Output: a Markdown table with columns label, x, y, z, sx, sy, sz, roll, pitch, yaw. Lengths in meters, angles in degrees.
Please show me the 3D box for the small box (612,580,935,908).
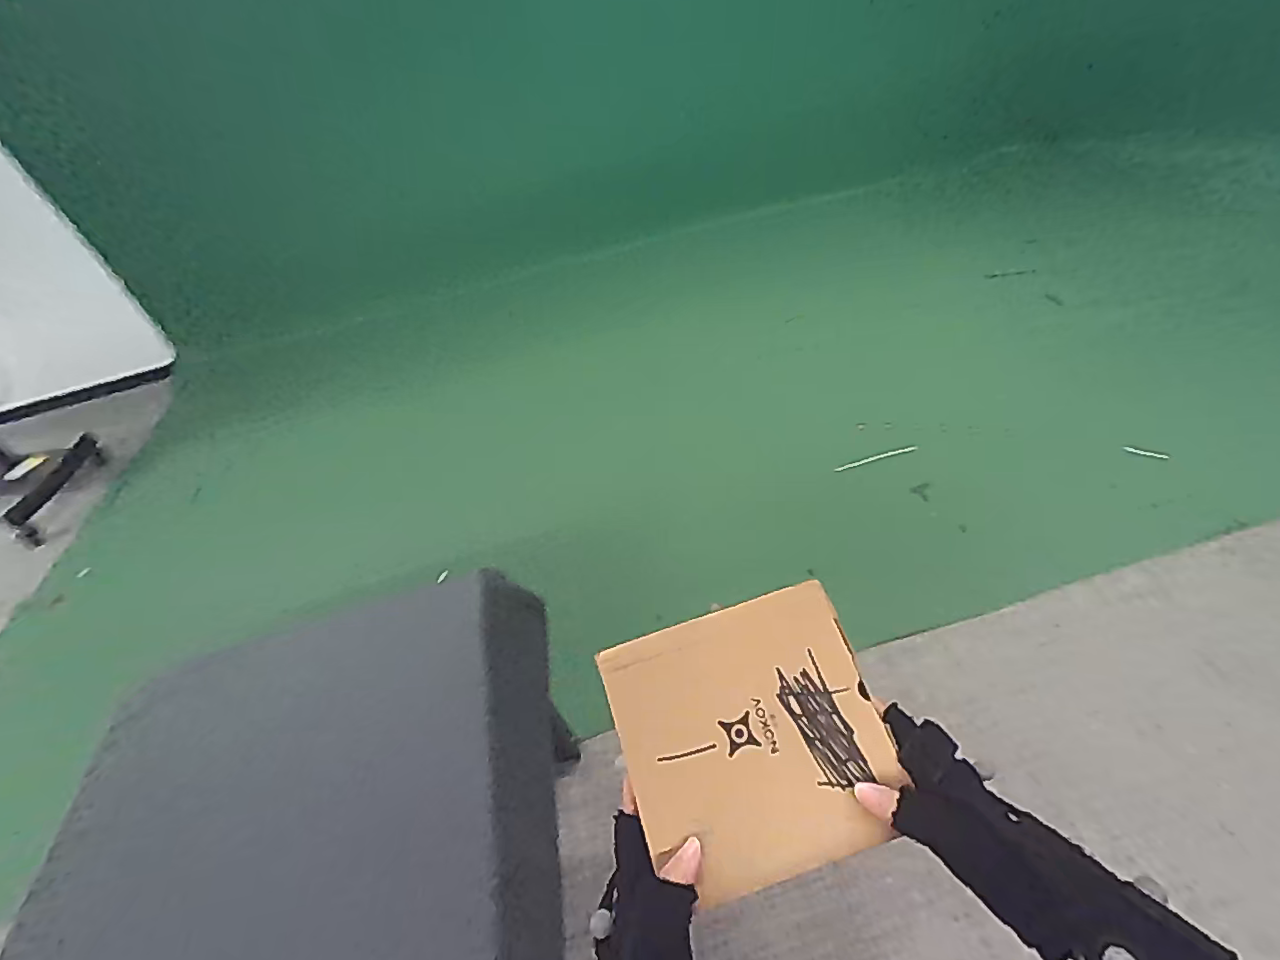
| label | x | y | z | sx | sy | sz | roll | pitch | yaw |
| --- | --- | --- | --- | --- | --- | --- | --- | --- | --- |
| small box | 0.087 | 0.199 | 0.438 | 0.179 | 0.176 | 0.168 | -17 | 65 | -3 |
